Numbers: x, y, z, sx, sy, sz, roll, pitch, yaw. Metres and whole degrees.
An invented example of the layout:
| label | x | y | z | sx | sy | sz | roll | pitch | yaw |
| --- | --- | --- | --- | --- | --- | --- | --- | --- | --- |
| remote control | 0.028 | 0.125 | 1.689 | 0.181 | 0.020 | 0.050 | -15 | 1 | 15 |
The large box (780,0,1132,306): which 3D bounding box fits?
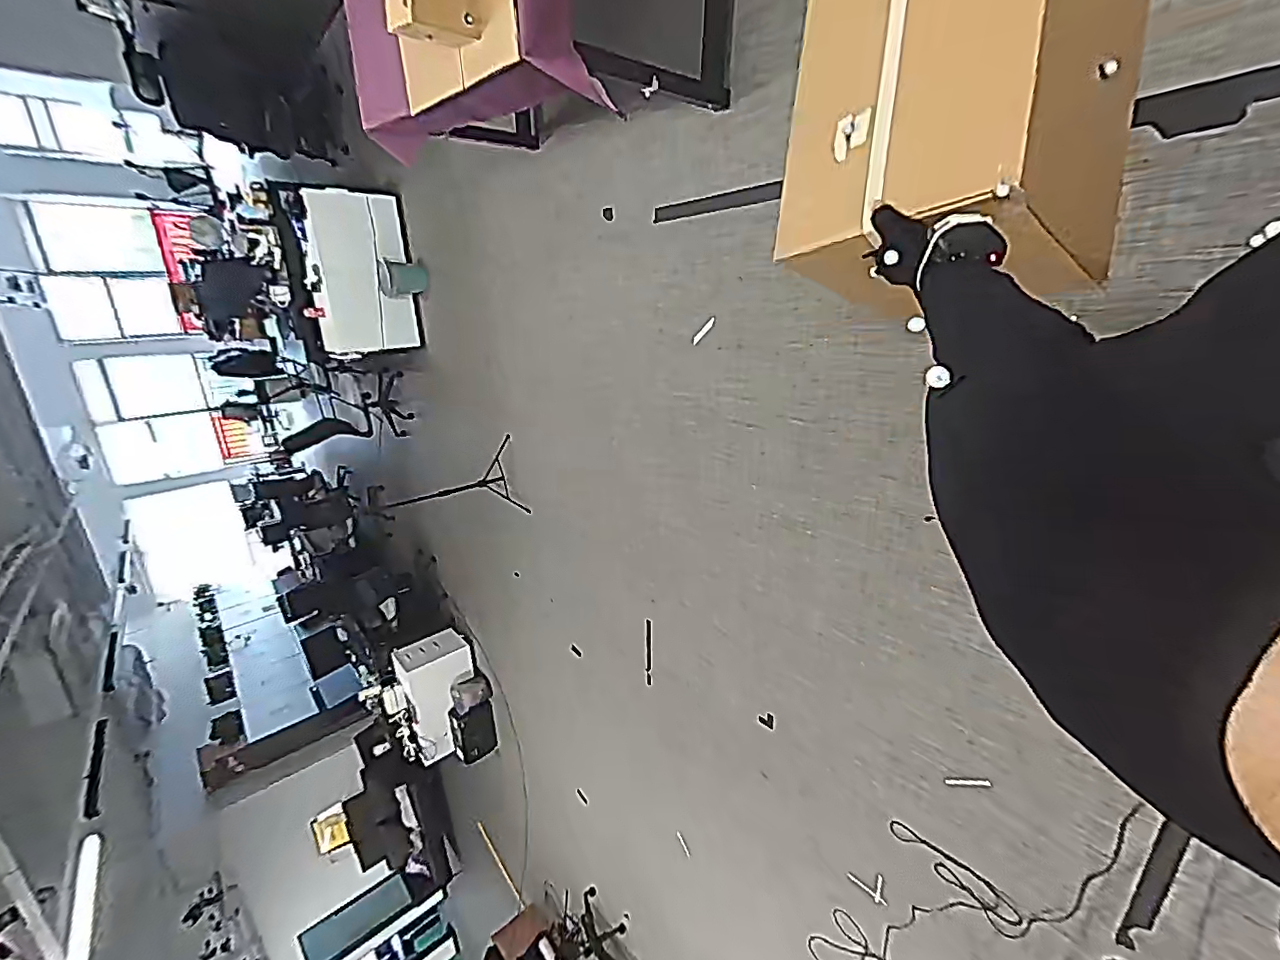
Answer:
| label | x | y | z | sx | sy | sz | roll | pitch | yaw |
| --- | --- | --- | --- | --- | --- | --- | --- | --- | --- |
| large box | 0.434 | -0.502 | 0.757 | 0.320 | 0.320 | 0.408 | 9 | 94 | 55 |
